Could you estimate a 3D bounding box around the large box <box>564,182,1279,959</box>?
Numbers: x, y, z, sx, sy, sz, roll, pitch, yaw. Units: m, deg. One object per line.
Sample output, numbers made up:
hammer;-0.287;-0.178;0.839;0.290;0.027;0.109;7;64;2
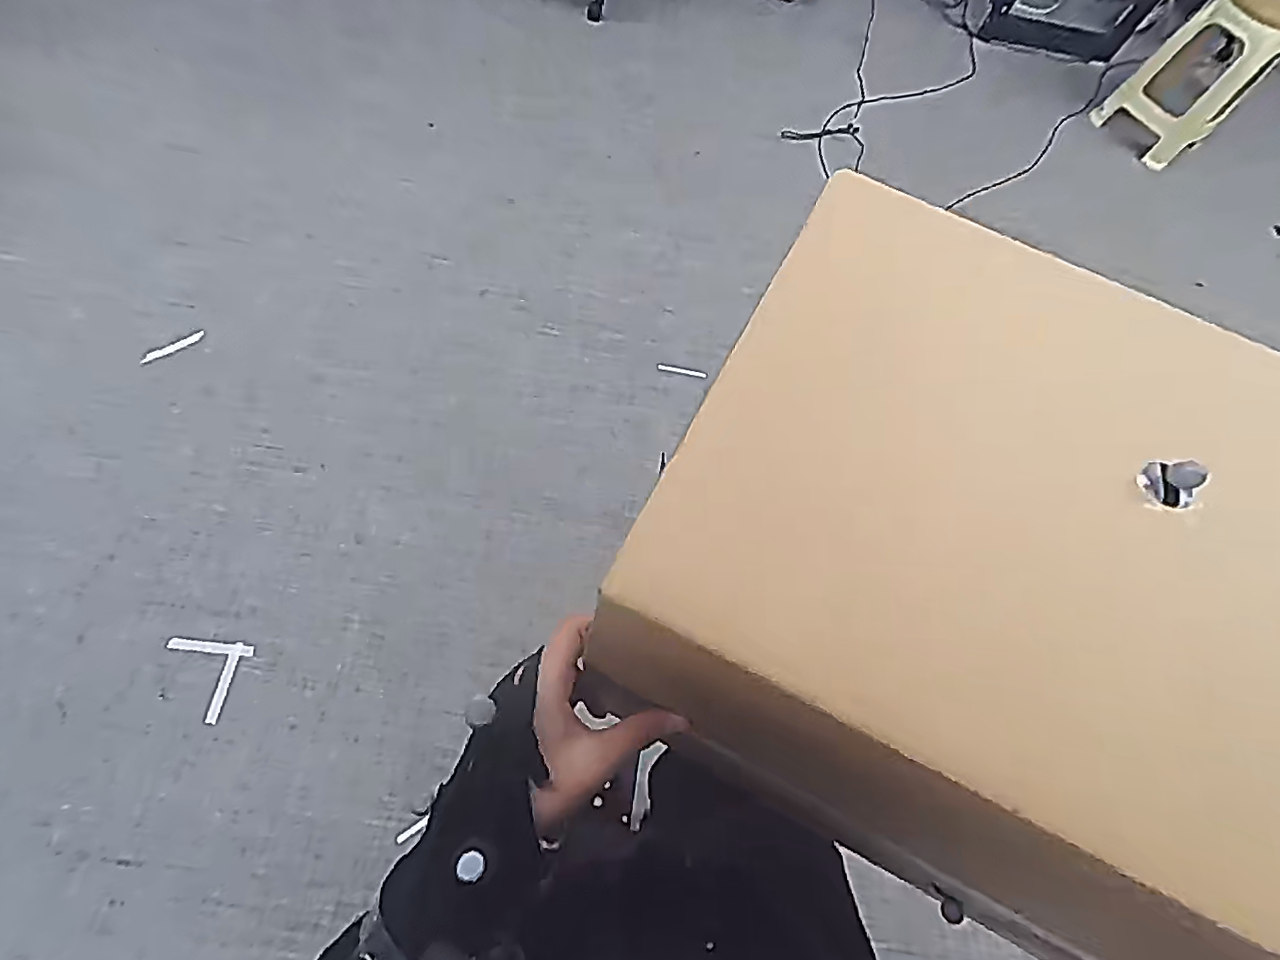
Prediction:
large box;0.197;0.074;0.373;0.408;0.320;0.320;25;63;7
